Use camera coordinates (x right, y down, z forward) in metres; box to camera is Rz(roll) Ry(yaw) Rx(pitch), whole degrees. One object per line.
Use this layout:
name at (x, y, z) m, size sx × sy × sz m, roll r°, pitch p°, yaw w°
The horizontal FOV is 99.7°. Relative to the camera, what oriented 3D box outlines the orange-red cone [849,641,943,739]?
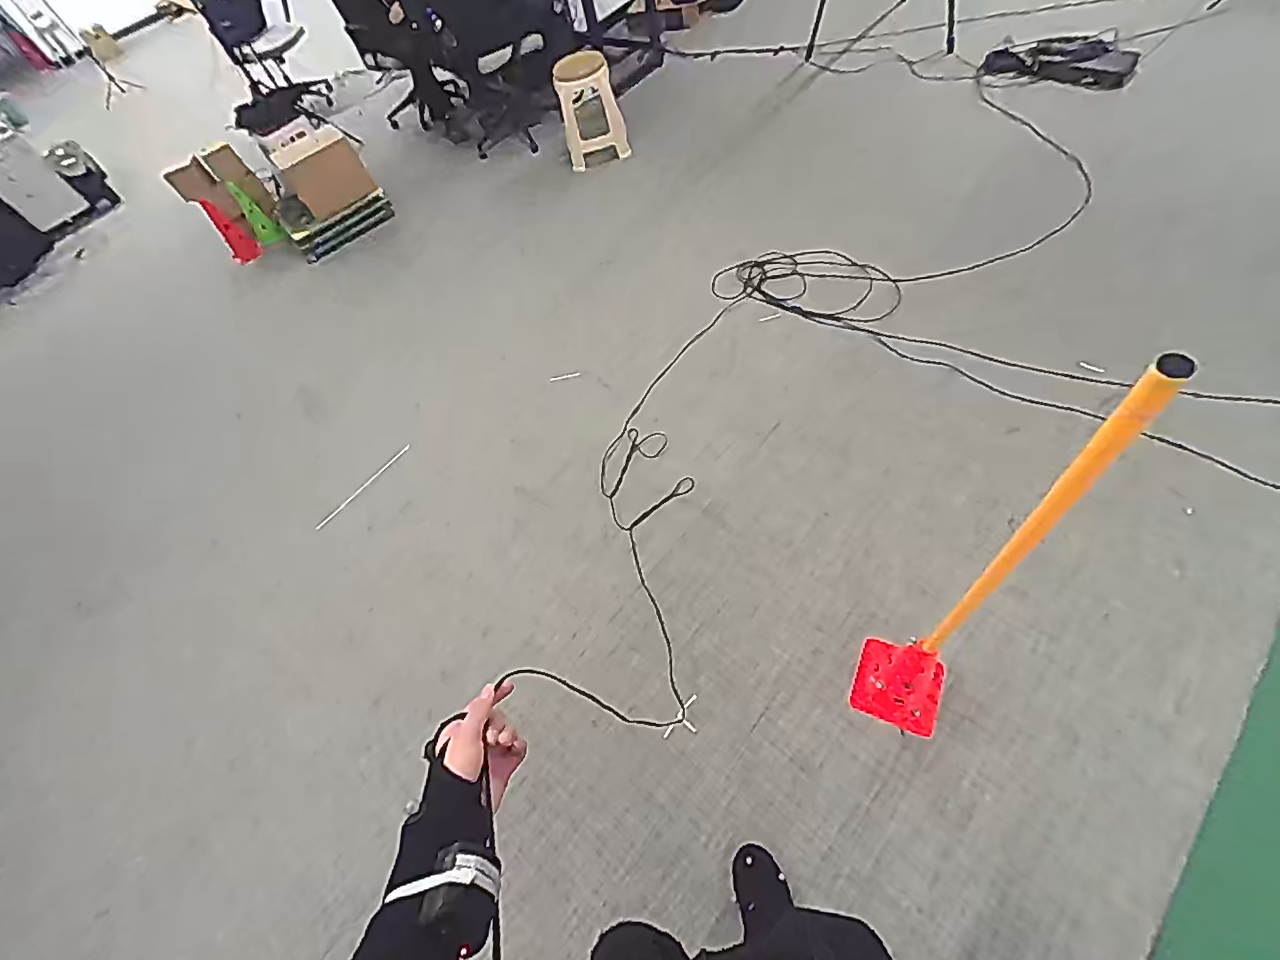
orange-red cone at (0.628, 0.440, 1.249) m, size 0.198 × 0.360 × 0.199 m, roll 18°, pitch 62°, yaw 22°
